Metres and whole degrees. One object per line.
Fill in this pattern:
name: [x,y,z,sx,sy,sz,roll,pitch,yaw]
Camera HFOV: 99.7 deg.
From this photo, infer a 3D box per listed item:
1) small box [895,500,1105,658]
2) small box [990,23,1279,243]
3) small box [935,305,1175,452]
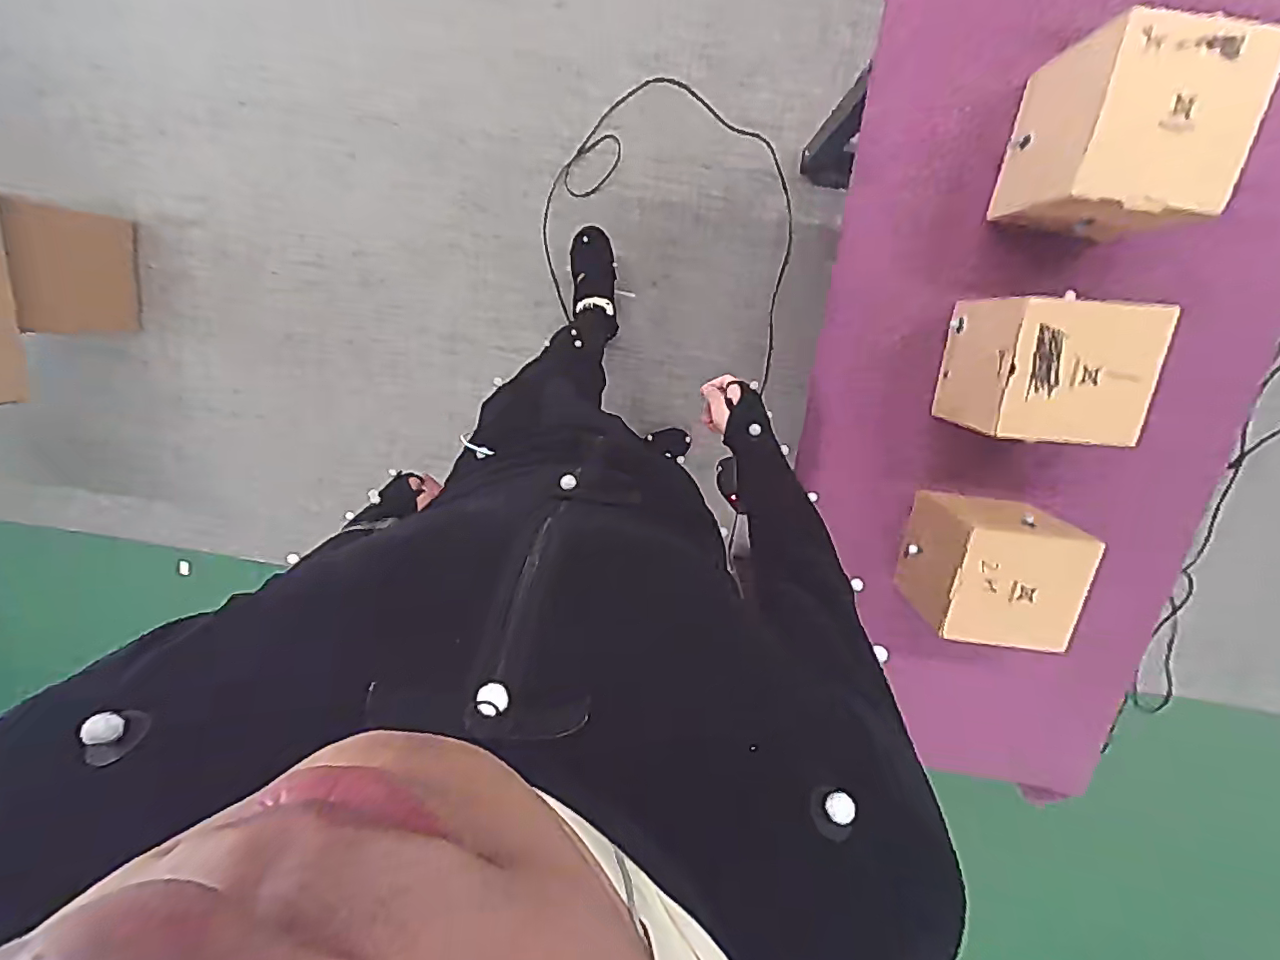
small box: [0.514,0.137,0.802,0.179,0.176,0.168,7,105,1]
small box: [0.564,-0.394,0.650,0.168,0.176,0.179,9,107,0]
small box: [0.530,-0.140,0.724,0.179,0.176,0.168,4,106,1]
